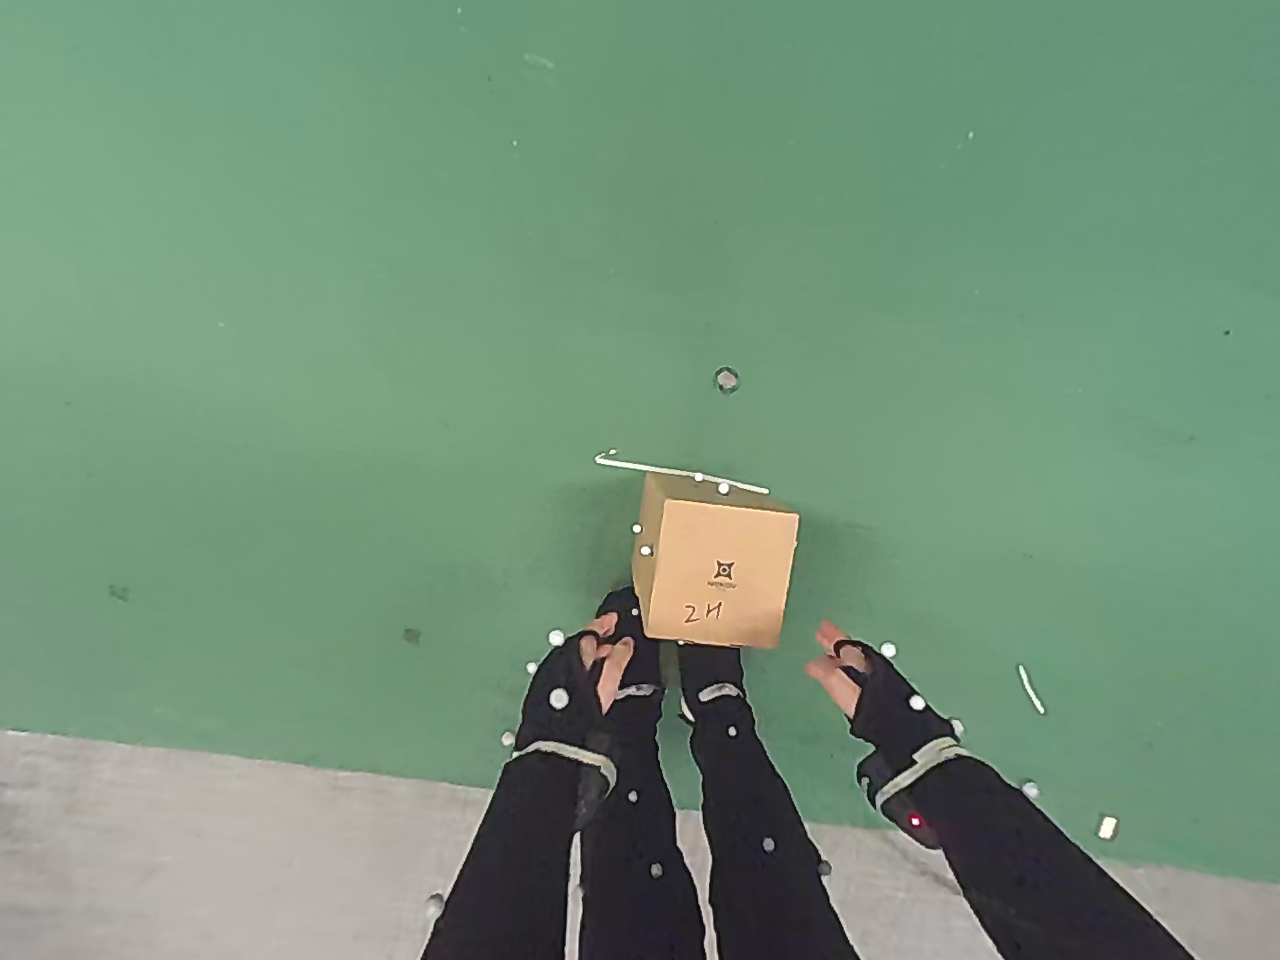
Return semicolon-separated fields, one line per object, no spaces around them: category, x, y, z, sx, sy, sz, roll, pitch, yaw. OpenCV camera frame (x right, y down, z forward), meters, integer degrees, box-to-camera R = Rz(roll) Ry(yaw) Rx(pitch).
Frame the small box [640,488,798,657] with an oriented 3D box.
small box;0.093;0.112;0.728;0.168;0.176;0.179;8;97;-4
